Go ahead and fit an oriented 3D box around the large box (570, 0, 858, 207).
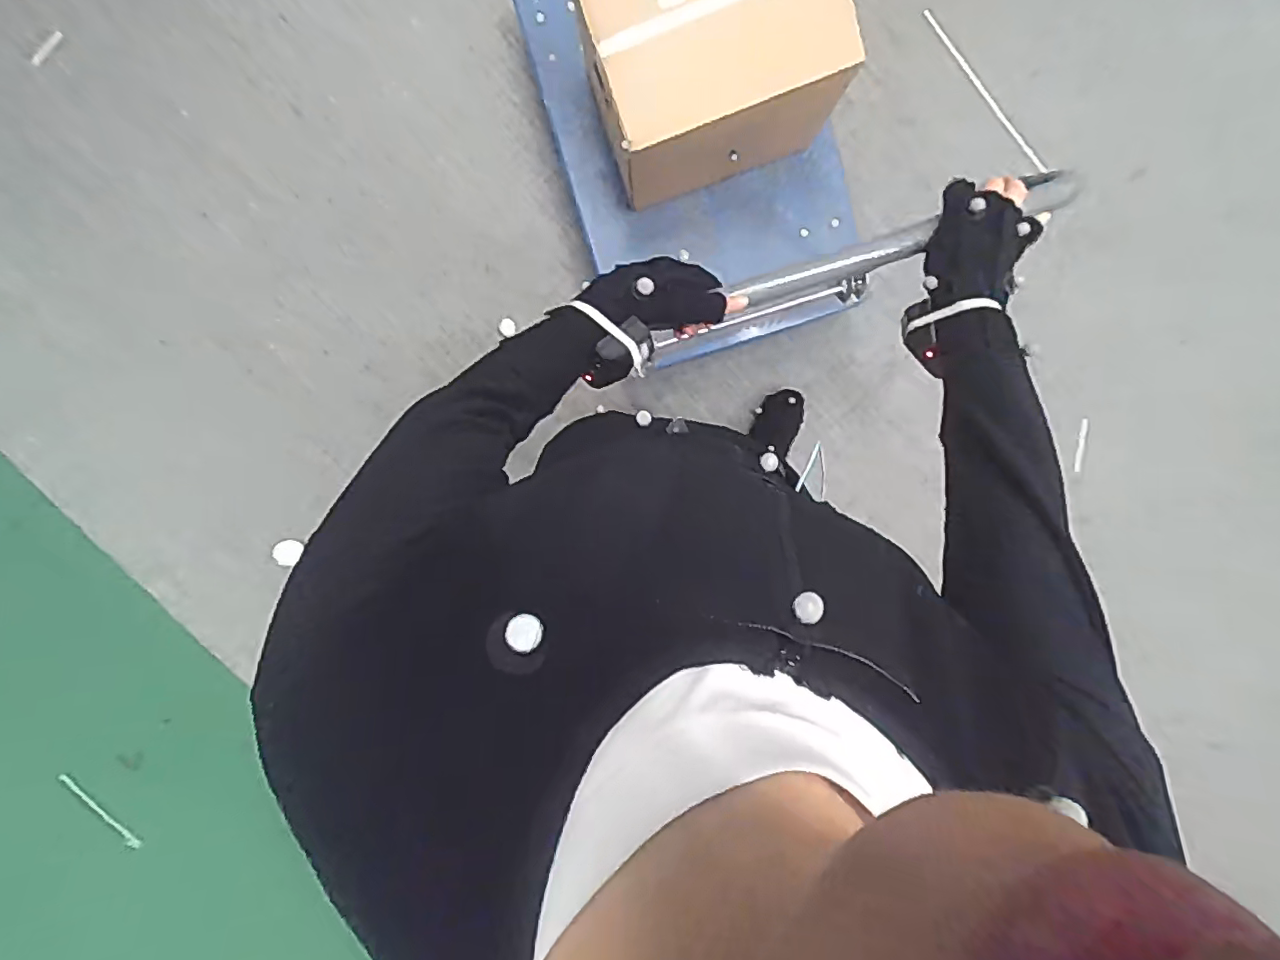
[{"bbox_3d":[0.119,-0.777,1.007,0.408,0.320,0.320,-20,98,5],"label":"large box"}]
